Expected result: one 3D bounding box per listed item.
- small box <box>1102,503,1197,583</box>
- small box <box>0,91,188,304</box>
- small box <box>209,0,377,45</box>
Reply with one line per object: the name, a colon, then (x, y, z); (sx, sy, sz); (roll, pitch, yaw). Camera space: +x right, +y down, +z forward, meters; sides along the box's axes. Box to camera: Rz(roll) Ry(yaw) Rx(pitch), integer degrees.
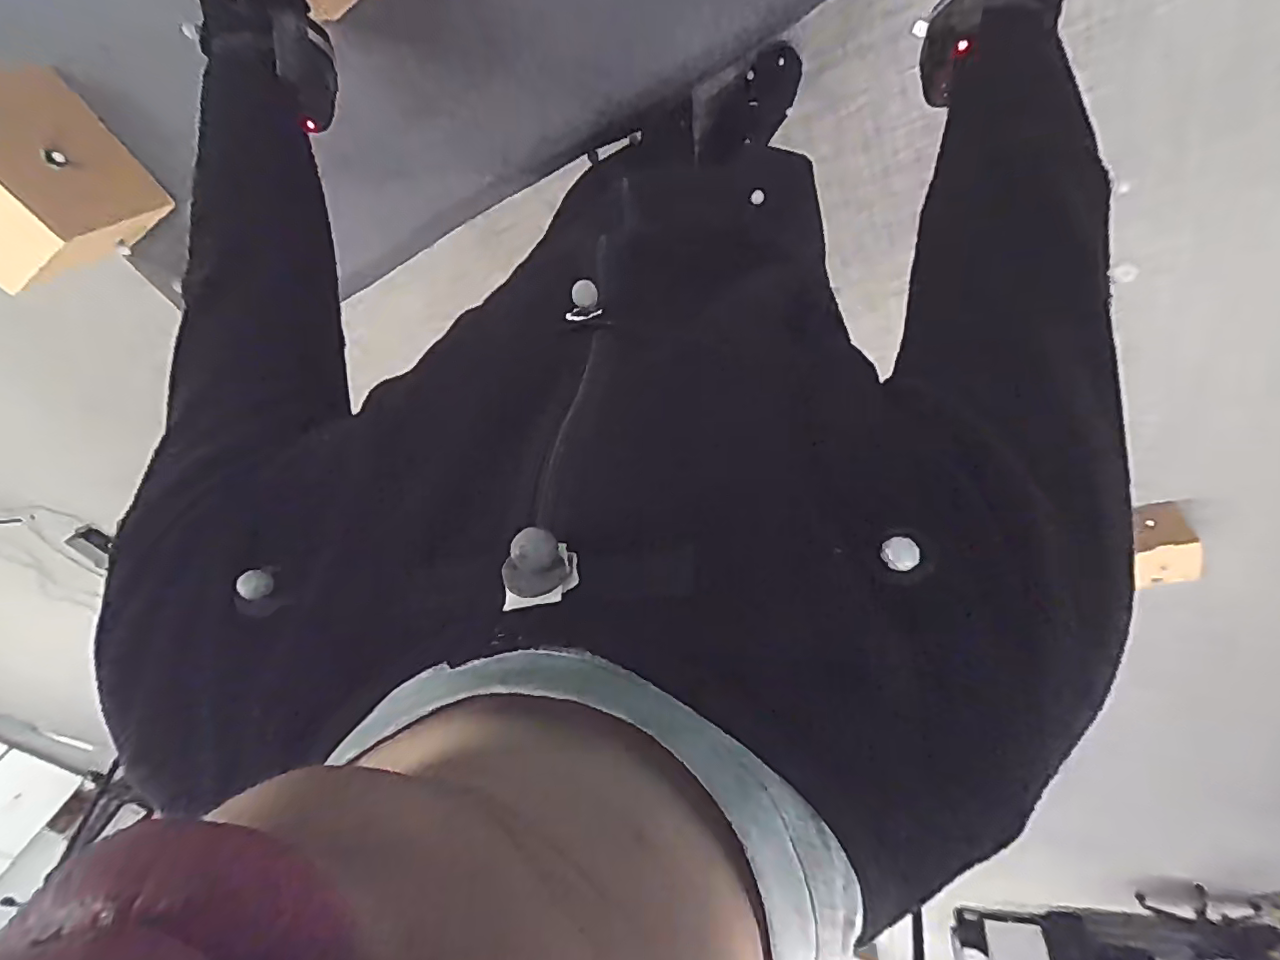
small box: (1.572, 0.189, 1.678); (0.168, 0.176, 0.179); (-17, 126, 26)
small box: (-0.755, -0.364, 0.692); (0.168, 0.176, 0.179); (-16, 126, 25)
small box: (-0.303, -0.516, 0.456); (0.168, 0.176, 0.179); (-16, 126, 24)
